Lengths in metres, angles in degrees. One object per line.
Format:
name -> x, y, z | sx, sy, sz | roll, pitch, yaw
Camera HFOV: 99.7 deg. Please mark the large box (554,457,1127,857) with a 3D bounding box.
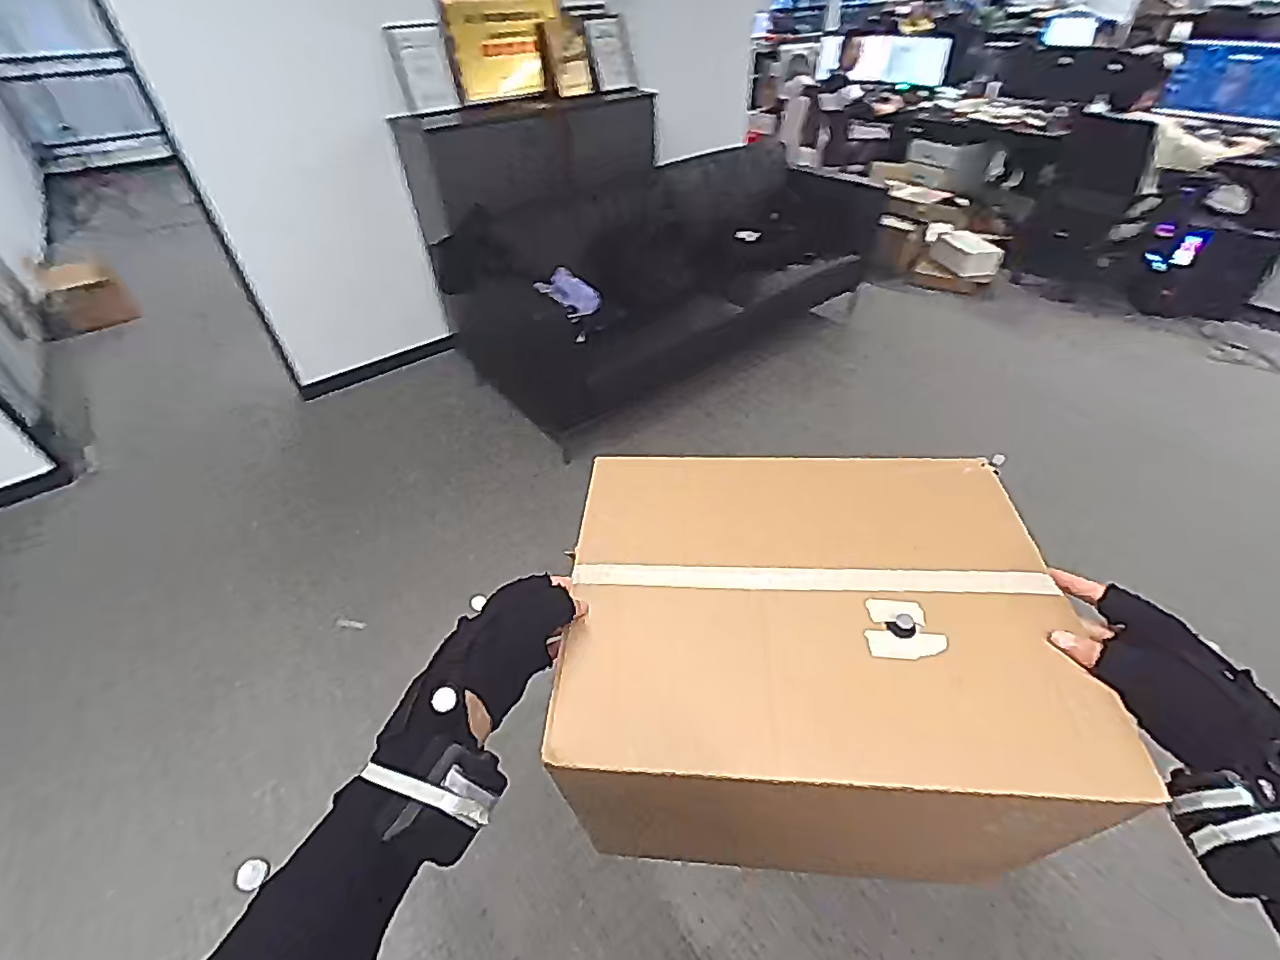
large box -> 0.147, 0.192, 0.585 | 0.408, 0.320, 0.320 | -1, 47, 5
